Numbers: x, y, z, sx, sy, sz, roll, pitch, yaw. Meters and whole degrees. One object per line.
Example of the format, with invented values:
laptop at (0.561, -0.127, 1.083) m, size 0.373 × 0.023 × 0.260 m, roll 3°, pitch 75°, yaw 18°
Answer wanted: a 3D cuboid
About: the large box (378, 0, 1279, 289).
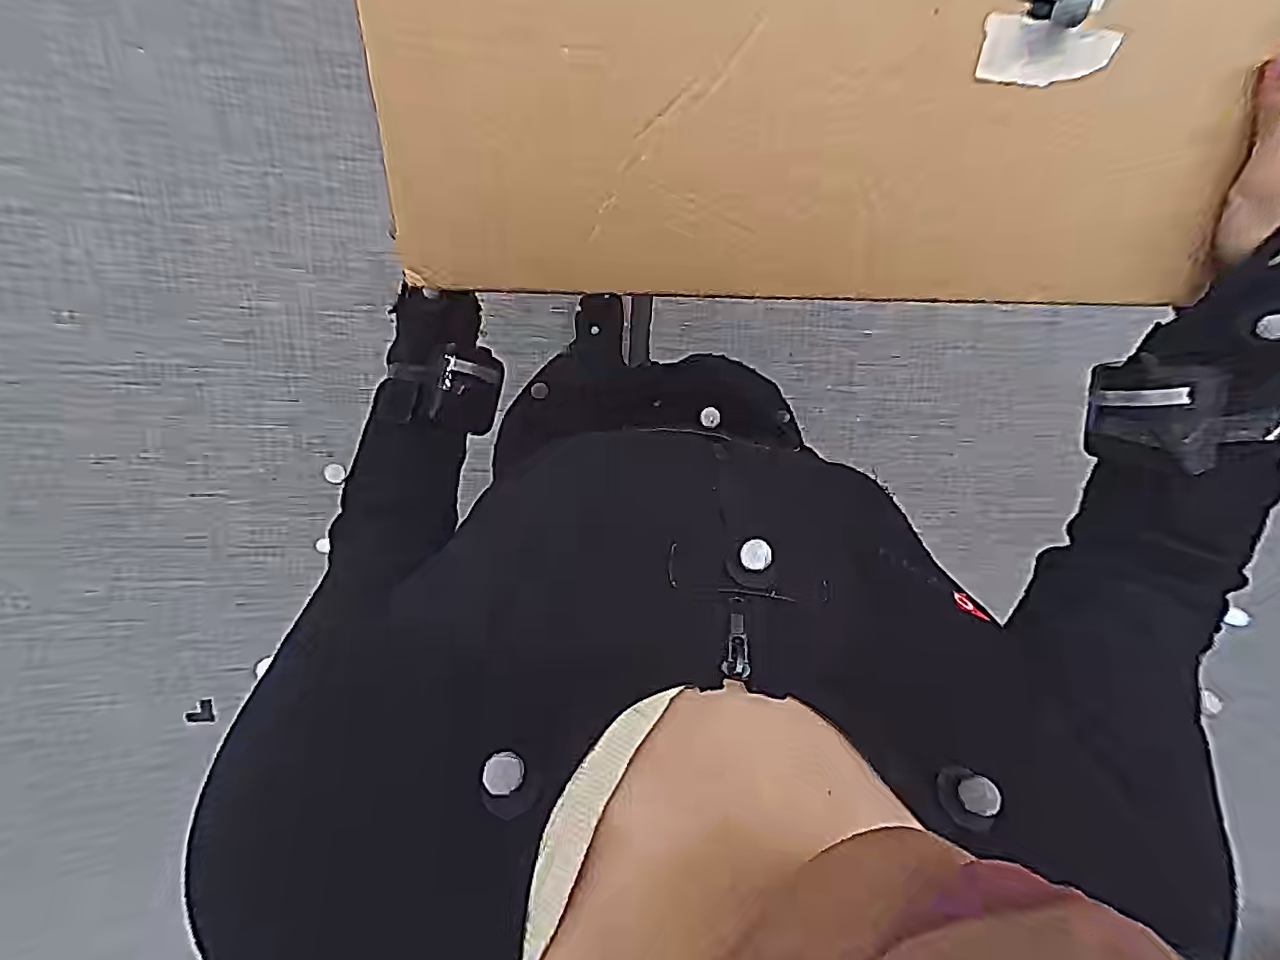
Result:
large box at (0.078, -0.305, 0.331) m, size 0.408 × 0.320 × 0.320 m, roll -2°, pitch 120°, yaw -7°
